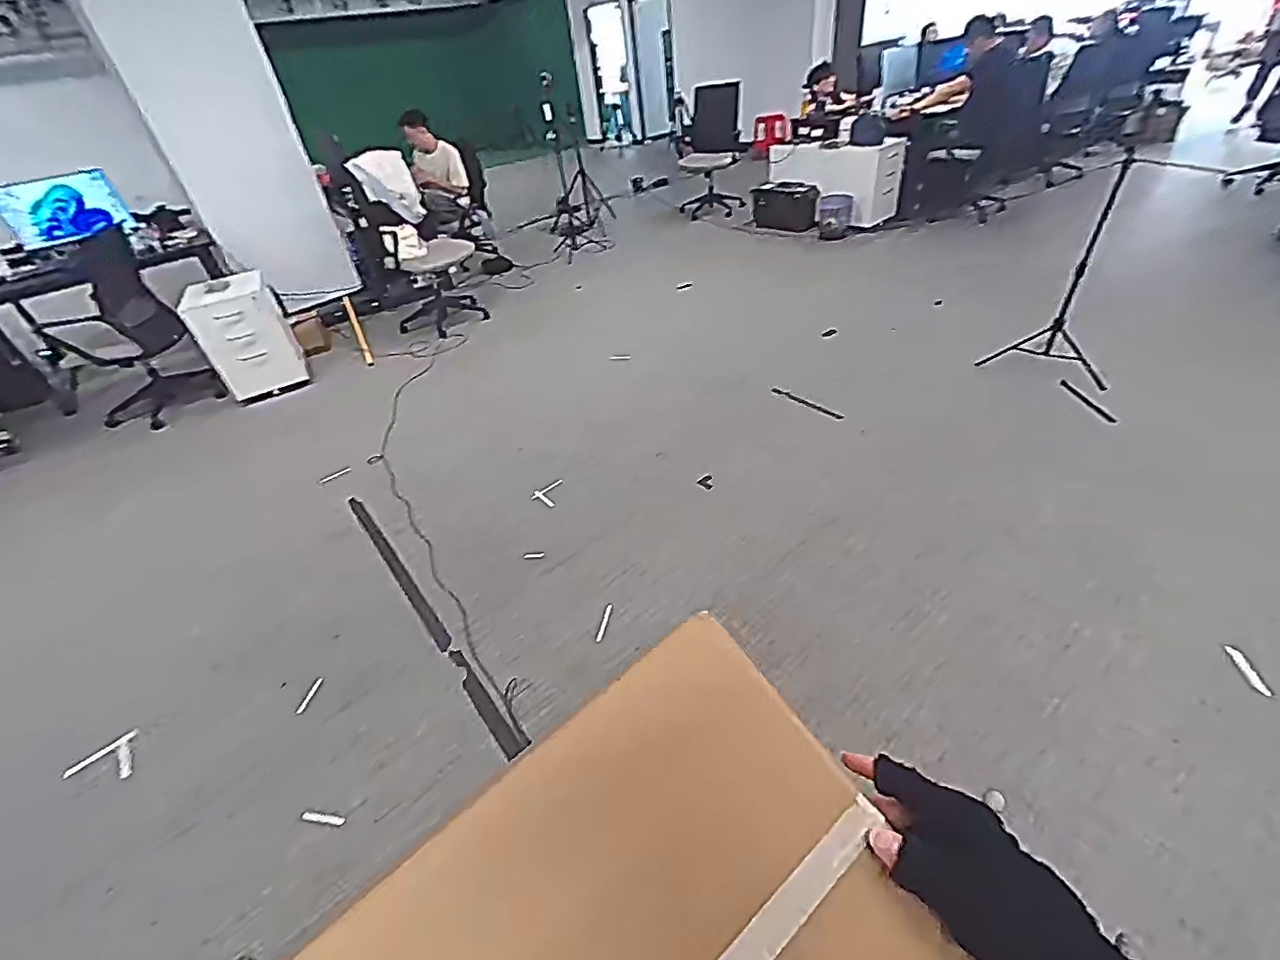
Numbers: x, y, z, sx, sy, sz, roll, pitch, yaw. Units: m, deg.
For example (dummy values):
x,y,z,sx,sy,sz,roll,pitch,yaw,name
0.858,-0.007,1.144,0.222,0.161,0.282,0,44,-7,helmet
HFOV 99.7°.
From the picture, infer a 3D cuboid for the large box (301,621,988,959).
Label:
x,y,z,sx,sy,sz,roll,pitch,yaw,name
-0.030,0.378,0.409,0.408,0.320,0.320,-36,76,-20,large box
